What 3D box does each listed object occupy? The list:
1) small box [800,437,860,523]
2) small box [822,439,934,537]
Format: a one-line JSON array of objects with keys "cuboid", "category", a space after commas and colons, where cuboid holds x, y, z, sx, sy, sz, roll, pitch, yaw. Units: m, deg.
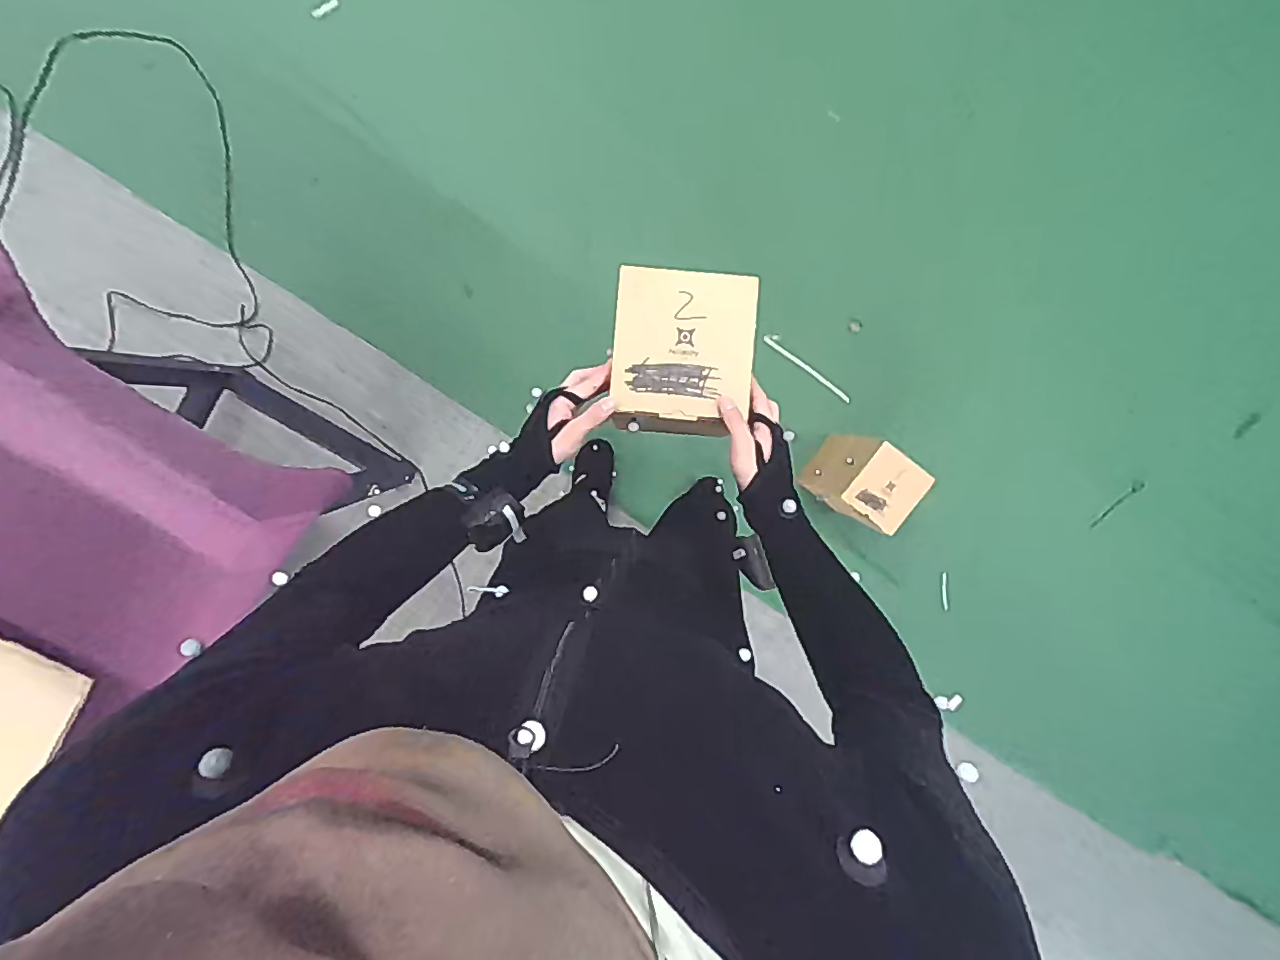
[{"cuboid": [0.584, -0.009, 1.536, 0.168, 0.176, 0.179, 35, 96, -6], "category": "small box"}, {"cuboid": [0.590, 0.014, 1.374, 0.168, 0.176, 0.179, 36, 95, -7], "category": "small box"}]
